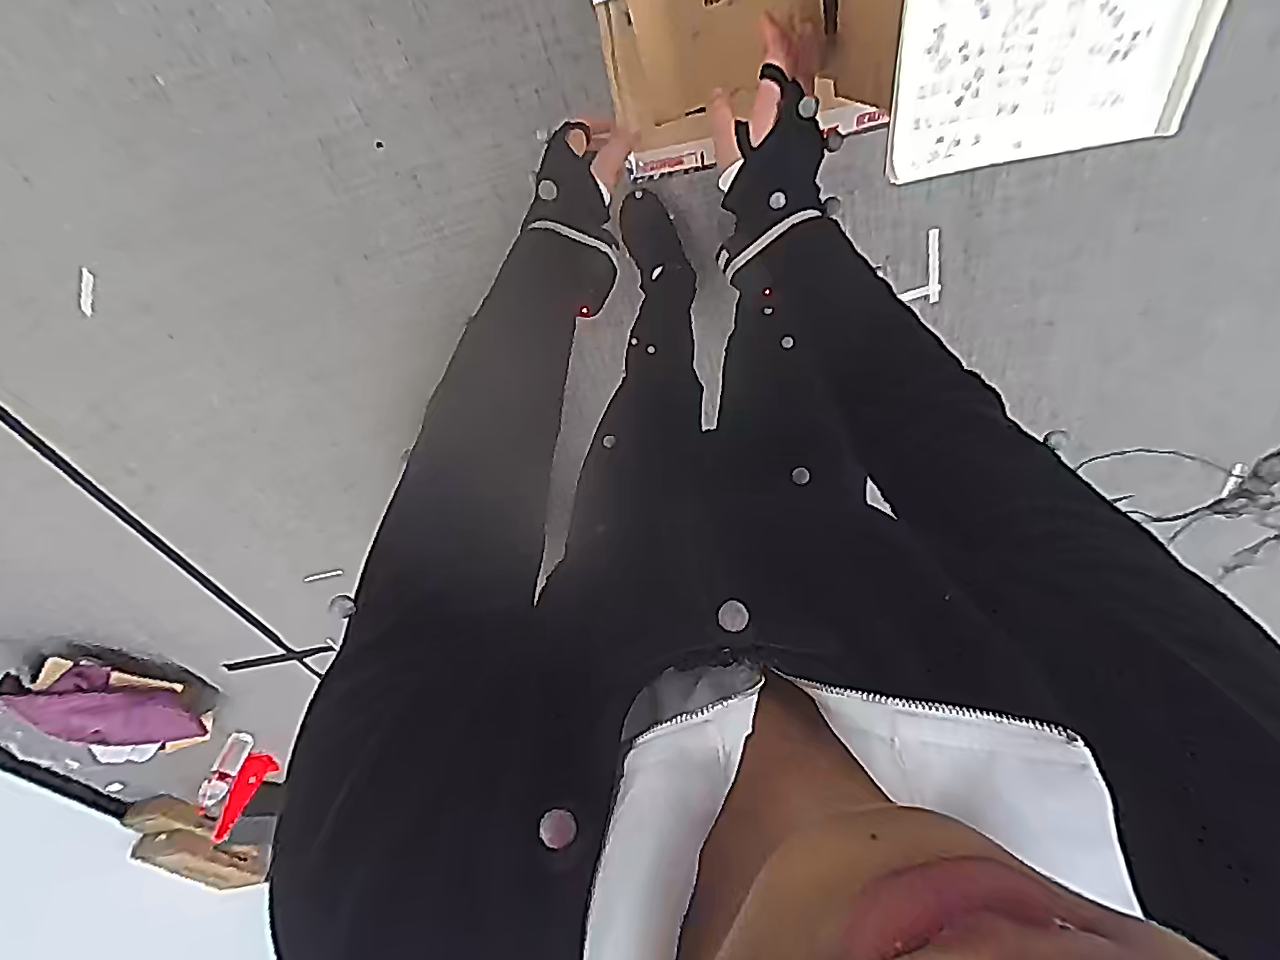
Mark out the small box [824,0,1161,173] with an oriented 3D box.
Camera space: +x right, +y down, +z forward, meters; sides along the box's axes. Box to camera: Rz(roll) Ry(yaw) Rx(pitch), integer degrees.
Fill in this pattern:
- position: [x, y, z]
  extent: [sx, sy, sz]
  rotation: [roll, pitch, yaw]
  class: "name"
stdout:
- position: [0.248, -0.357, 0.407]
  extent: [0.168, 0.176, 0.179]
  rotation: [-9, 131, 4]
  class: "small box"
